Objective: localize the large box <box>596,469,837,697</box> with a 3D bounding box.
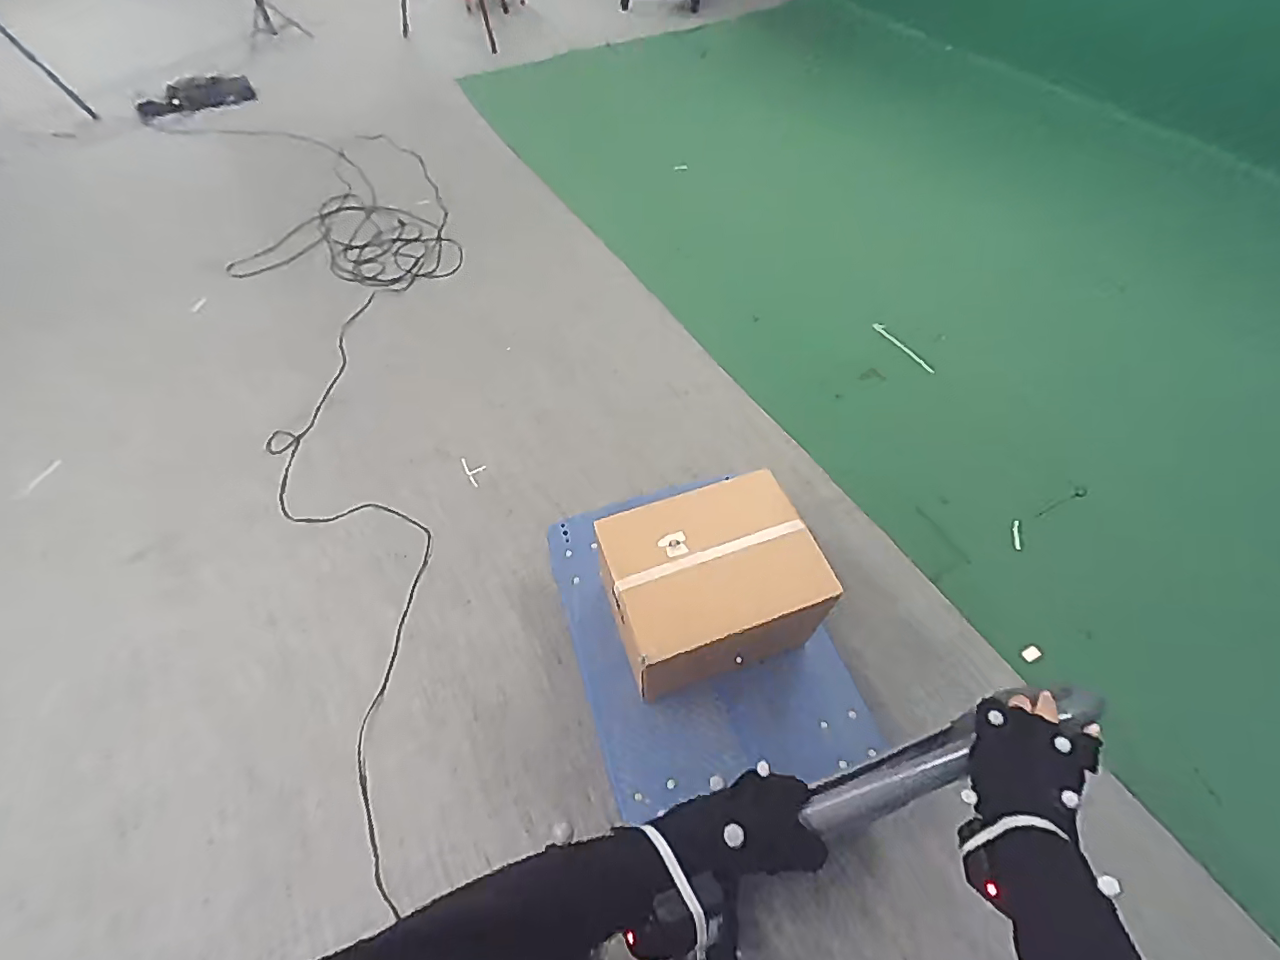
[{"bbox_3d":[0.147,0.234,1.200,0.408,0.320,0.320,-18,57,-10],"label":"large box"}]
